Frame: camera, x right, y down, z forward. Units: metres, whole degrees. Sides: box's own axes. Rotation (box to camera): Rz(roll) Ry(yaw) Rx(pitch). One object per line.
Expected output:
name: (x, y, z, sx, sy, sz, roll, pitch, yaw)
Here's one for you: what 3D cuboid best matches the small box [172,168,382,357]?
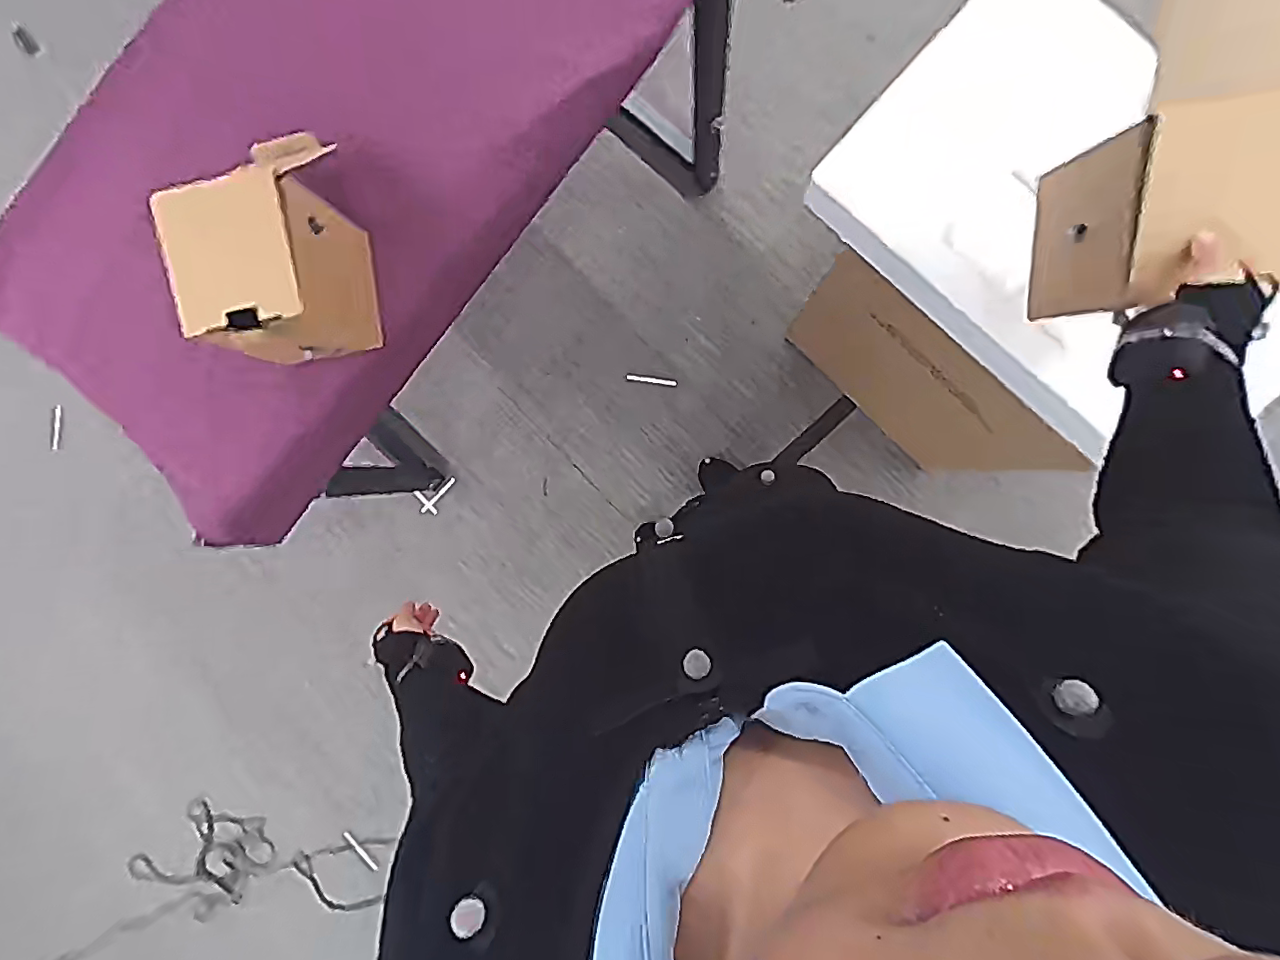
small box: (-0.484, -0.284, 0.743, 0.168, 0.176, 0.179, -8, 89, 7)
